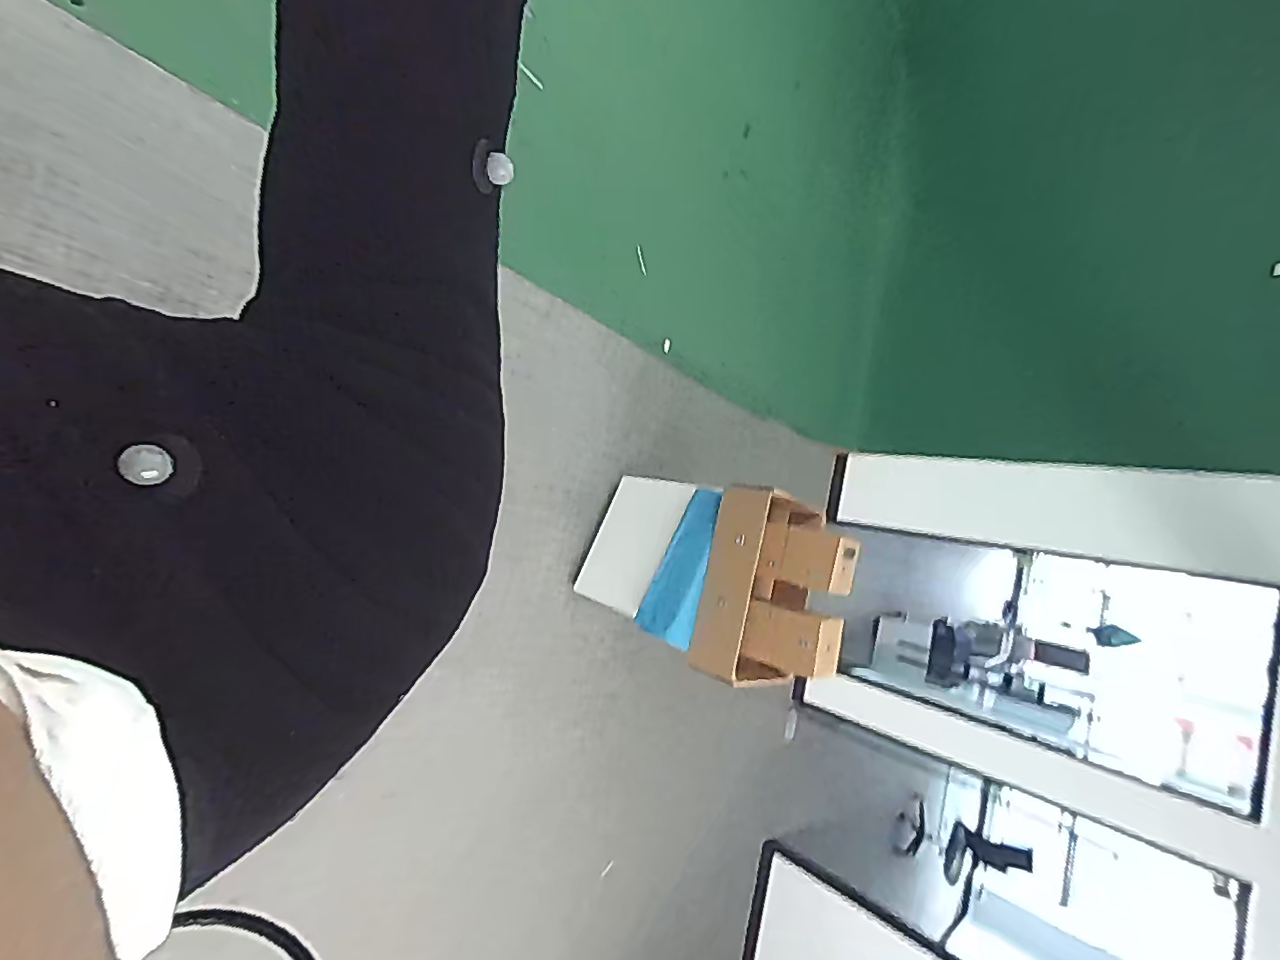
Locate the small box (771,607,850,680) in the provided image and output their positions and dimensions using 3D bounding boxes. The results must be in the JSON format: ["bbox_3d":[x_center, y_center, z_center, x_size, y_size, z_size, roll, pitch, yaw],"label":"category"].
[{"bbox_3d":[0.522,0.495,1.666,0.168,0.176,0.179,13,86,-46],"label":"small box"}]

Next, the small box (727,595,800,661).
[{"bbox_3d":[0.404,0.481,1.778,0.168,0.176,0.179,15,84,-46],"label":"small box"}]

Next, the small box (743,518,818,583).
[{"bbox_3d":[0.467,0.232,1.809,0.168,0.176,0.179,18,85,-46],"label":"small box"}]
